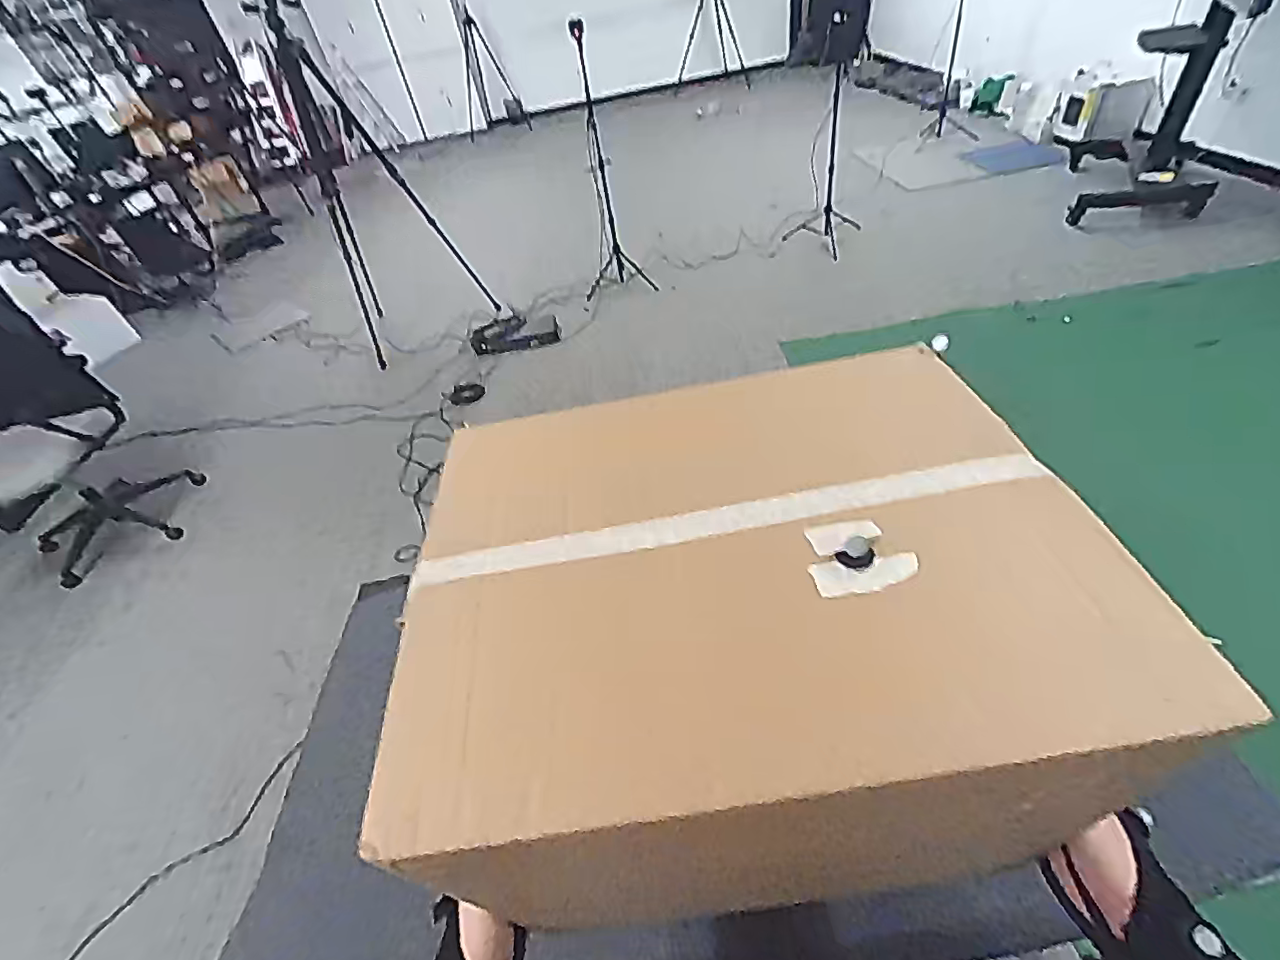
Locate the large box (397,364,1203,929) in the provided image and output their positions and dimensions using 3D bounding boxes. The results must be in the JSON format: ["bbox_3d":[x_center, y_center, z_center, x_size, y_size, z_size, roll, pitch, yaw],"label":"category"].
[{"bbox_3d":[0.078,0.143,0.468,0.408,0.320,0.320,-10,45,2],"label":"large box"}]
